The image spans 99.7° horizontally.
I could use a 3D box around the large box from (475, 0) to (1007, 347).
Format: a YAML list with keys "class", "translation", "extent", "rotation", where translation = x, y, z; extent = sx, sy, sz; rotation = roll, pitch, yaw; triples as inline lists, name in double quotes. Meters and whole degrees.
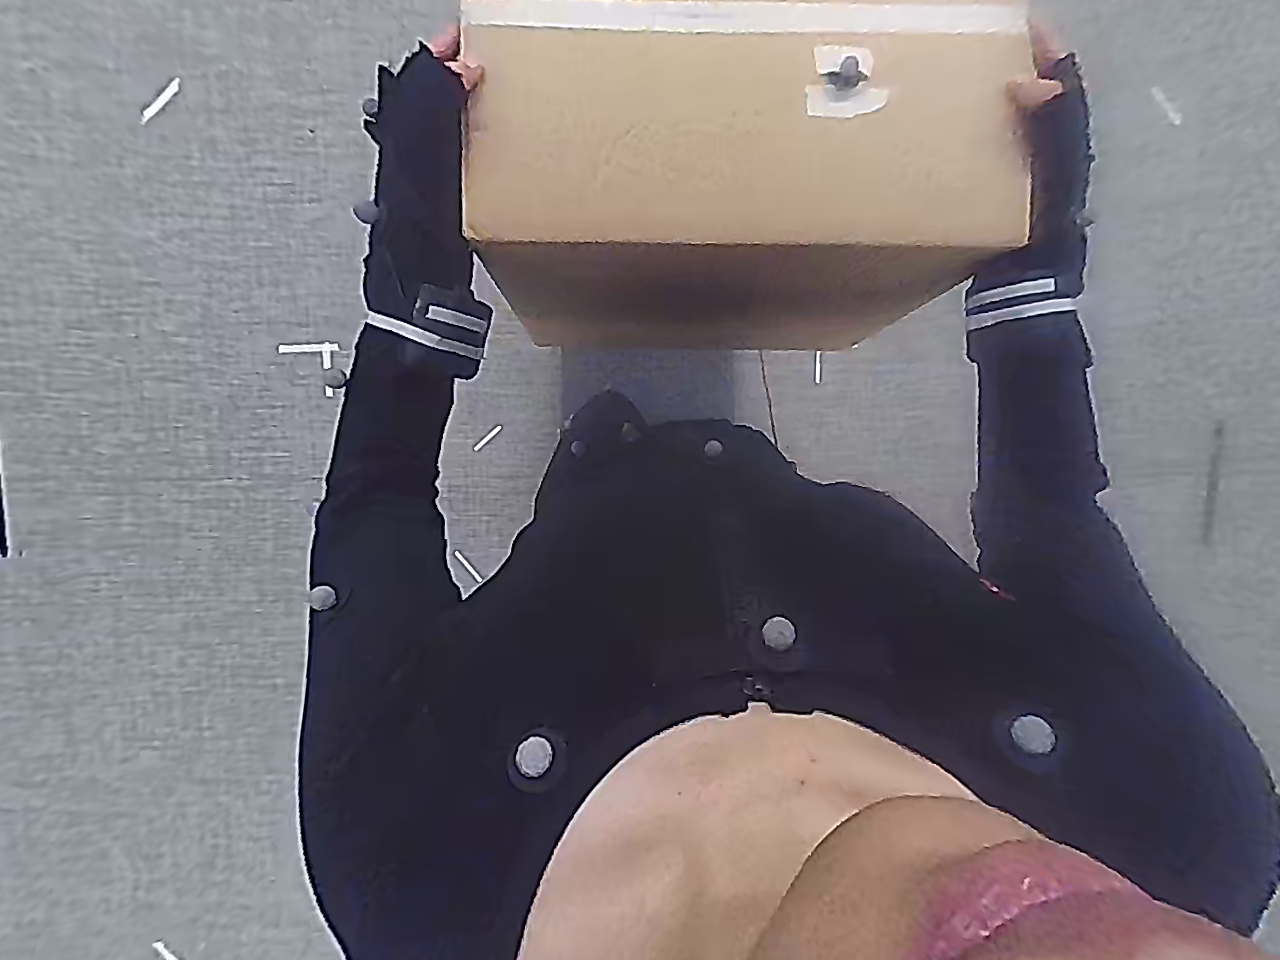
- class: "large box"
  translation: [0.070, -0.329, 0.551]
  extent: [0.408, 0.320, 0.320]
  rotation: [0, 90, -2]
